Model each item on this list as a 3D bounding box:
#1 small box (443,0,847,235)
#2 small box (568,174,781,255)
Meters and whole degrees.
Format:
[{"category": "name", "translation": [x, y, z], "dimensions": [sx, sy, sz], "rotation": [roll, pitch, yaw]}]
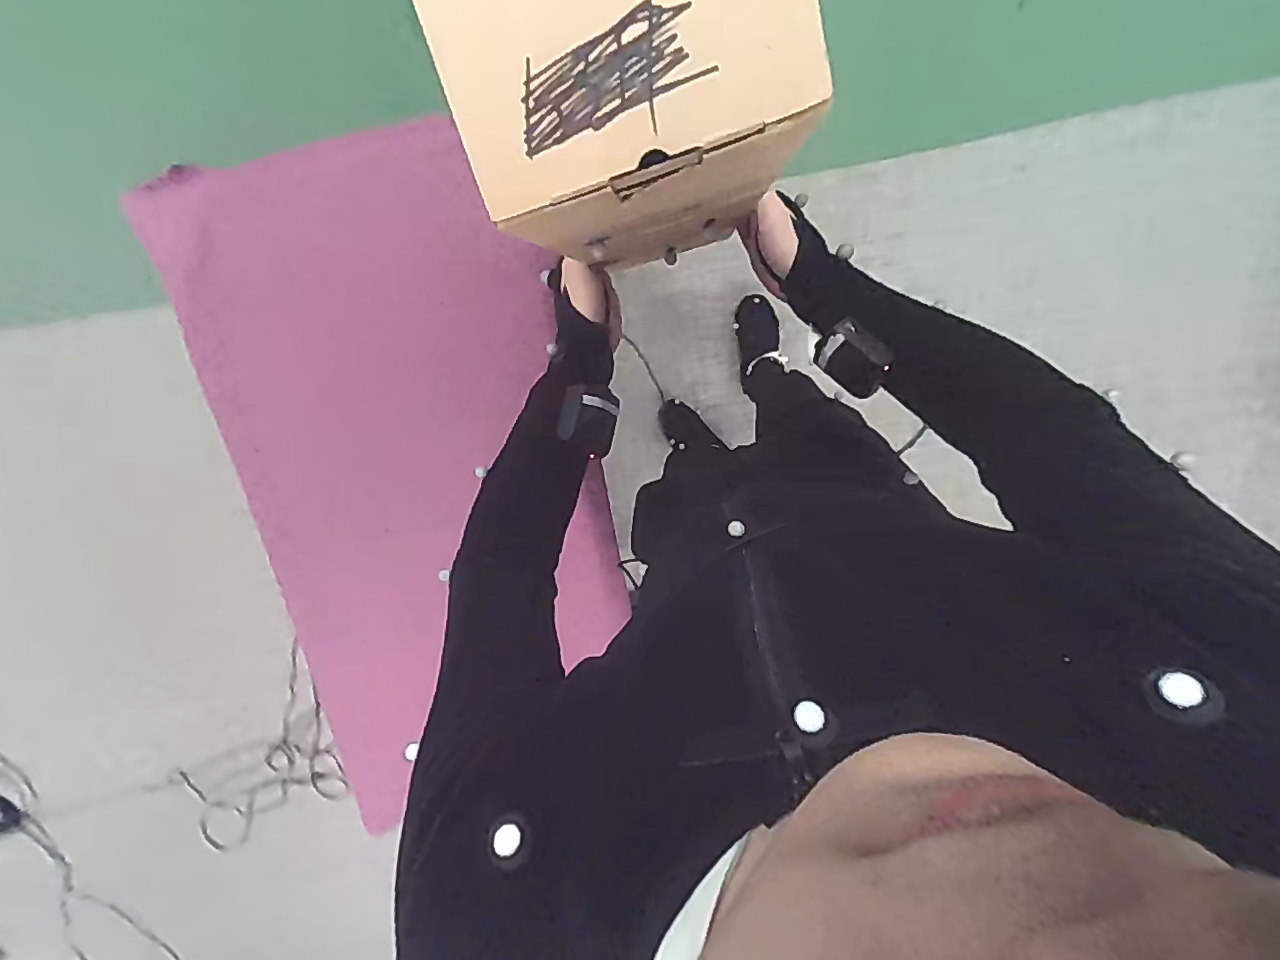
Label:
[{"category": "small box", "translation": [-0.002, -0.250, 0.301], "dimensions": [0.168, 0.176, 0.179], "rotation": [-14, 106, 8]}, {"category": "small box", "translation": [0.012, -0.300, 0.457], "dimensions": [0.168, 0.176, 0.179], "rotation": [-13, 106, 8]}]
